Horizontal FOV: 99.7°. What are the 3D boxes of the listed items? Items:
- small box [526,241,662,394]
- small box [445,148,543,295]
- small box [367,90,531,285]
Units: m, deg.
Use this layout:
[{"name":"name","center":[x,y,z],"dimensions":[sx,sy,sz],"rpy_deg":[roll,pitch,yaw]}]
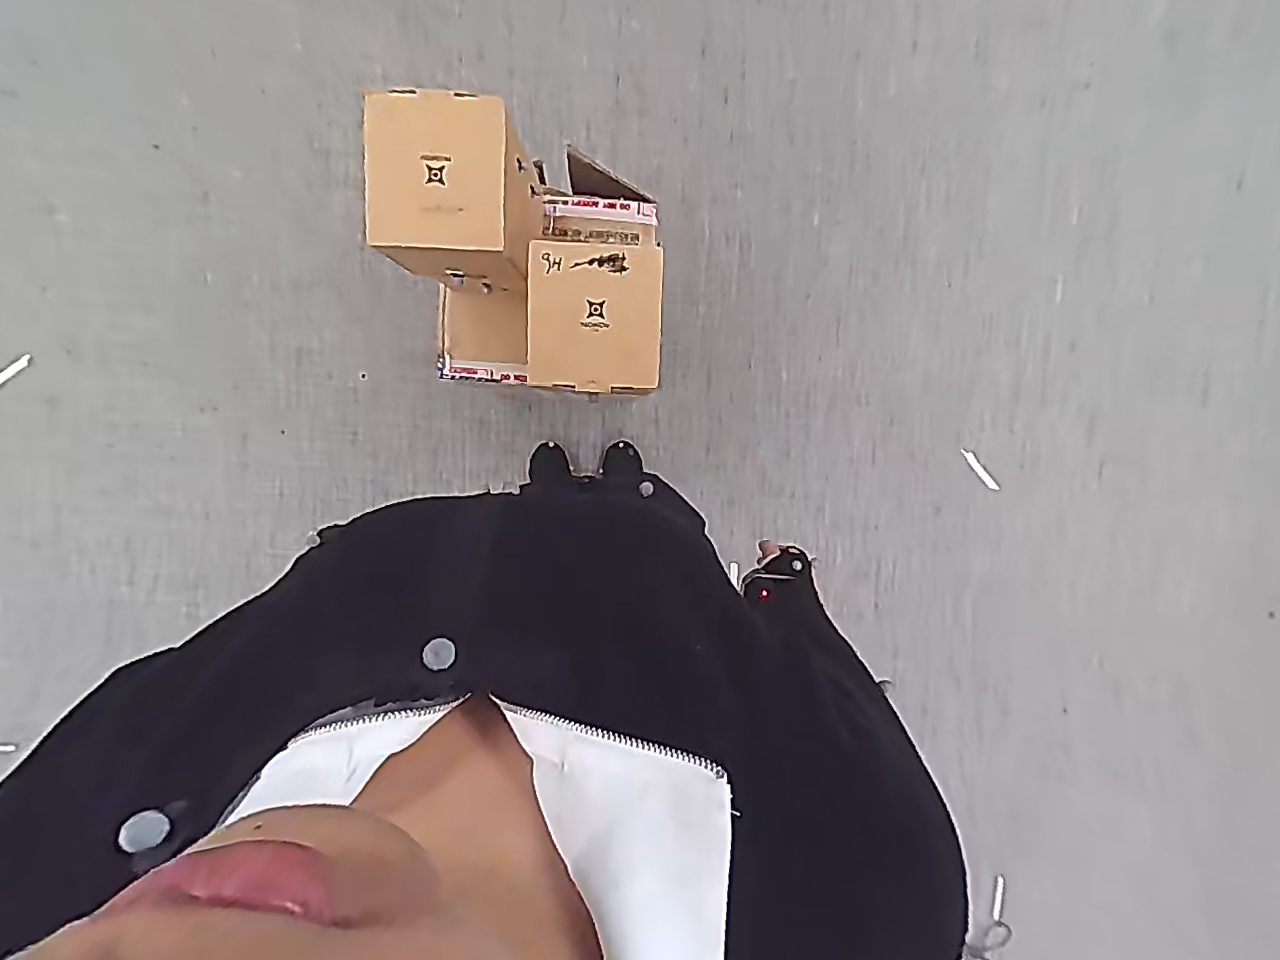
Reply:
[{"name":"small box","center":[-0.061,-0.210,0.744],"dimensions":[0.168,0.176,0.179],"rpy_deg":[2,98,-4]},{"name":"small box","center":[-0.252,-0.413,0.876],"dimensions":[0.168,0.176,0.179],"rpy_deg":[2,97,-2]},{"name":"small box","center":[-0.241,-0.372,0.717],"dimensions":[0.168,0.176,0.179],"rpy_deg":[2,98,-1]}]
